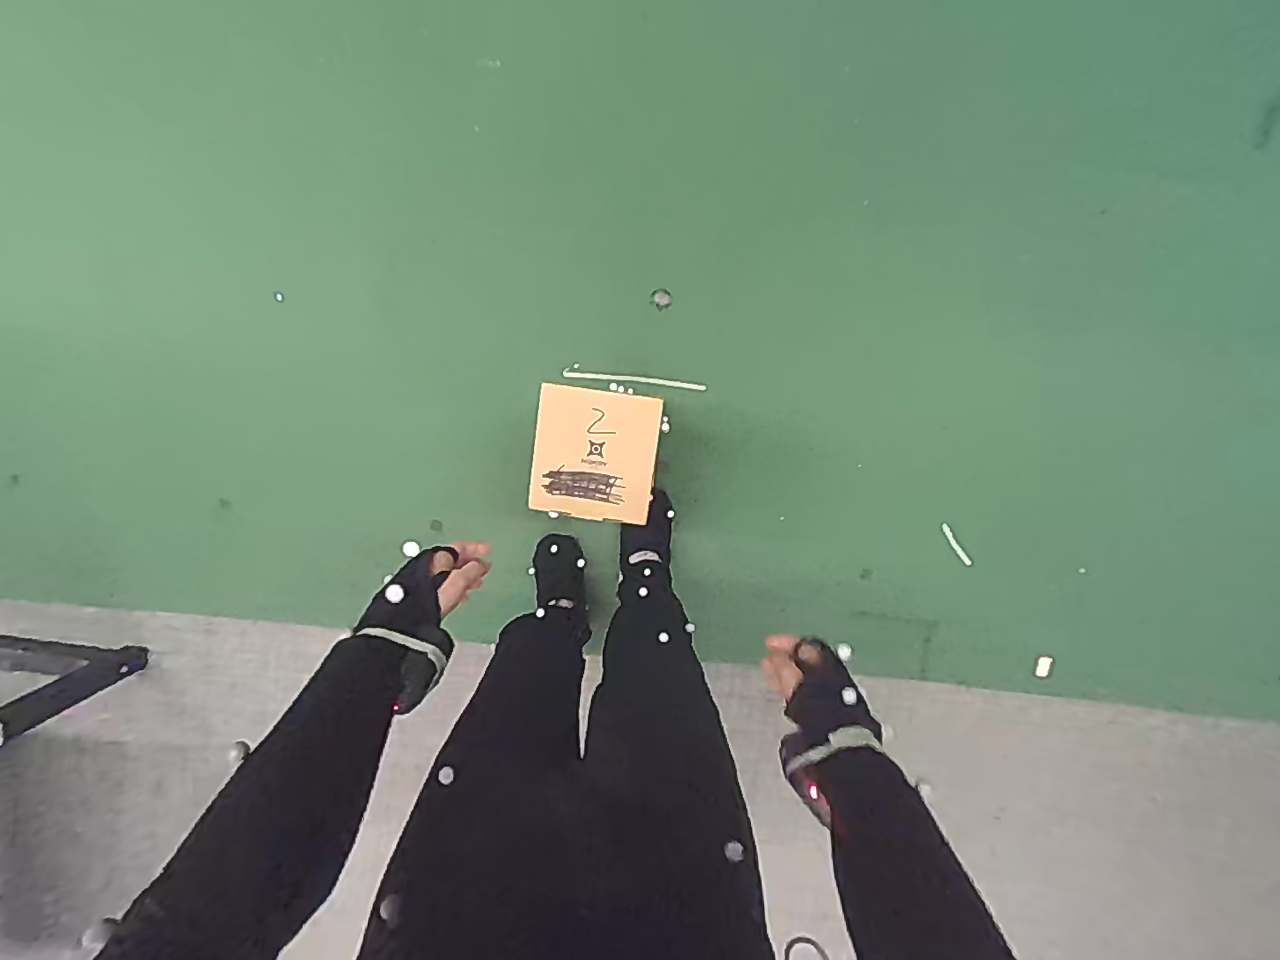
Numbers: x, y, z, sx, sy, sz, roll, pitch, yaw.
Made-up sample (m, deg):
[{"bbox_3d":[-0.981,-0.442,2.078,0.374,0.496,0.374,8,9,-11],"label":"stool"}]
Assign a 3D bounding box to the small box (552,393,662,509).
[{"bbox_3d":[-0.054,-0.058,0.972,0.168,0.176,0.179,8,99,1],"label":"small box"}]
